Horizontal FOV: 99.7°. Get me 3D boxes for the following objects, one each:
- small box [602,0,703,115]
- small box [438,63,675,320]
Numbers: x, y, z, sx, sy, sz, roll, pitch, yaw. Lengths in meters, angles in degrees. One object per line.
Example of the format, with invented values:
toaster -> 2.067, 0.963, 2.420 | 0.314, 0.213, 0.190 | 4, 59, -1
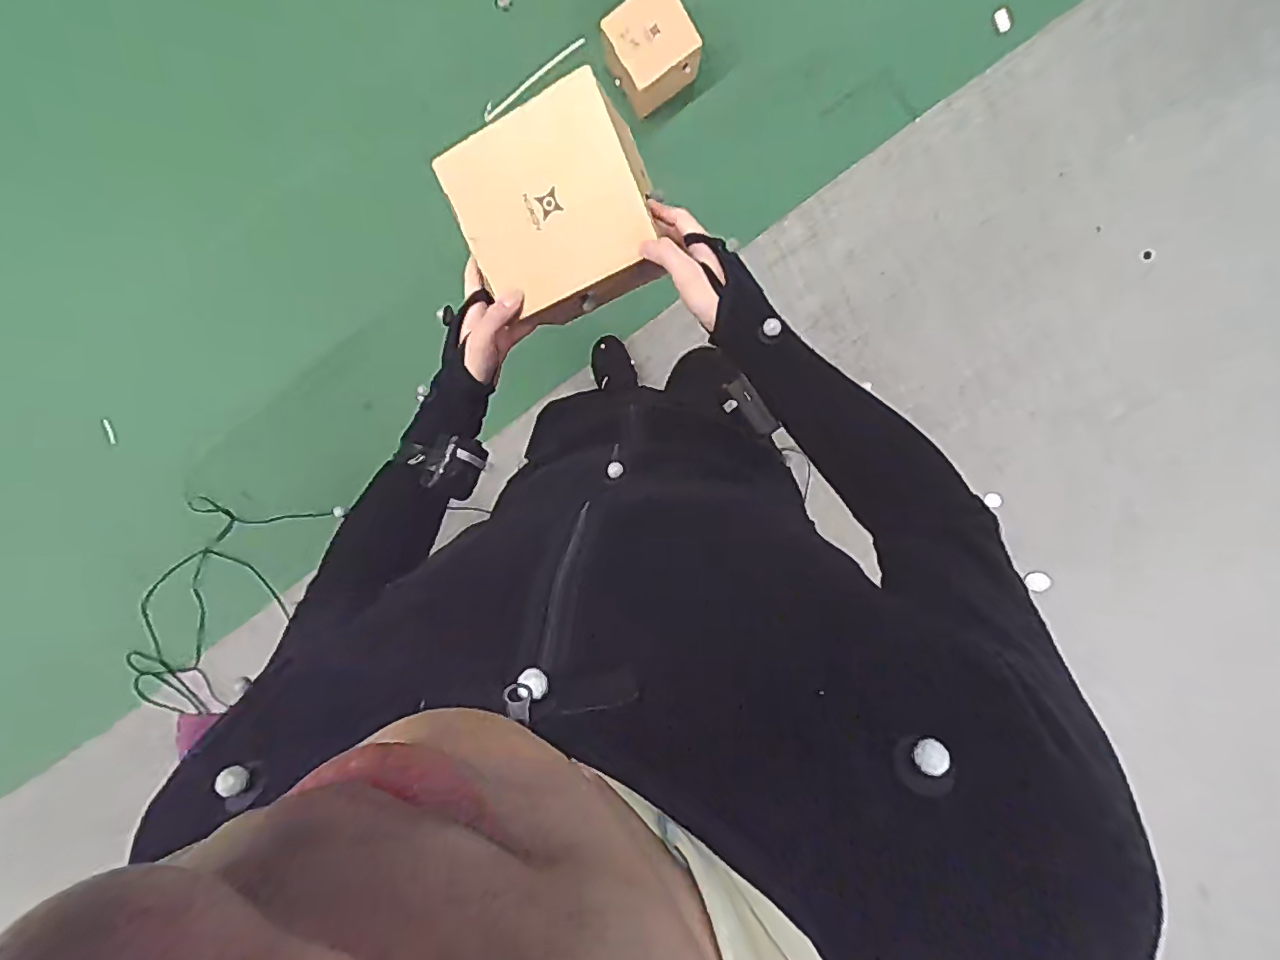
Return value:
small box -> 0.027, -1.022, 1.282 | 0.179, 0.176, 0.168 | -33, 102, 8
small box -> -0.070, -0.284, 0.578 | 0.179, 0.176, 0.168 | -20, 102, 16
